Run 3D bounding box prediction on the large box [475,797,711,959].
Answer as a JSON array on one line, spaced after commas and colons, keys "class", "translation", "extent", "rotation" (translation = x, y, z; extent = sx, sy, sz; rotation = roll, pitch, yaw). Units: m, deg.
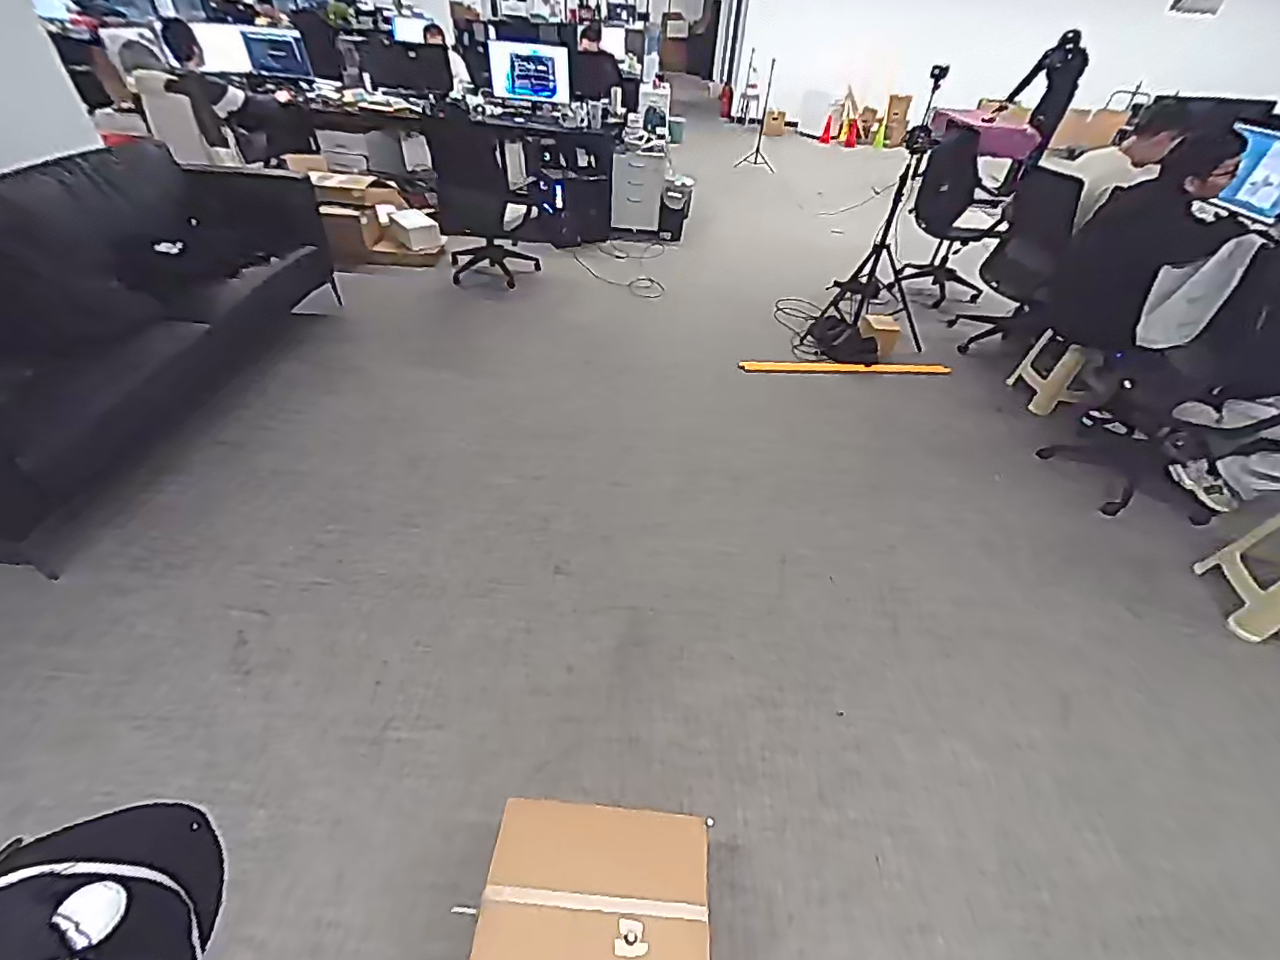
[{"class": "large box", "translation": [-0.082, 0.865, 1.067], "extent": [0.408, 0.320, 0.320], "rotation": [5, 42, 1]}]
